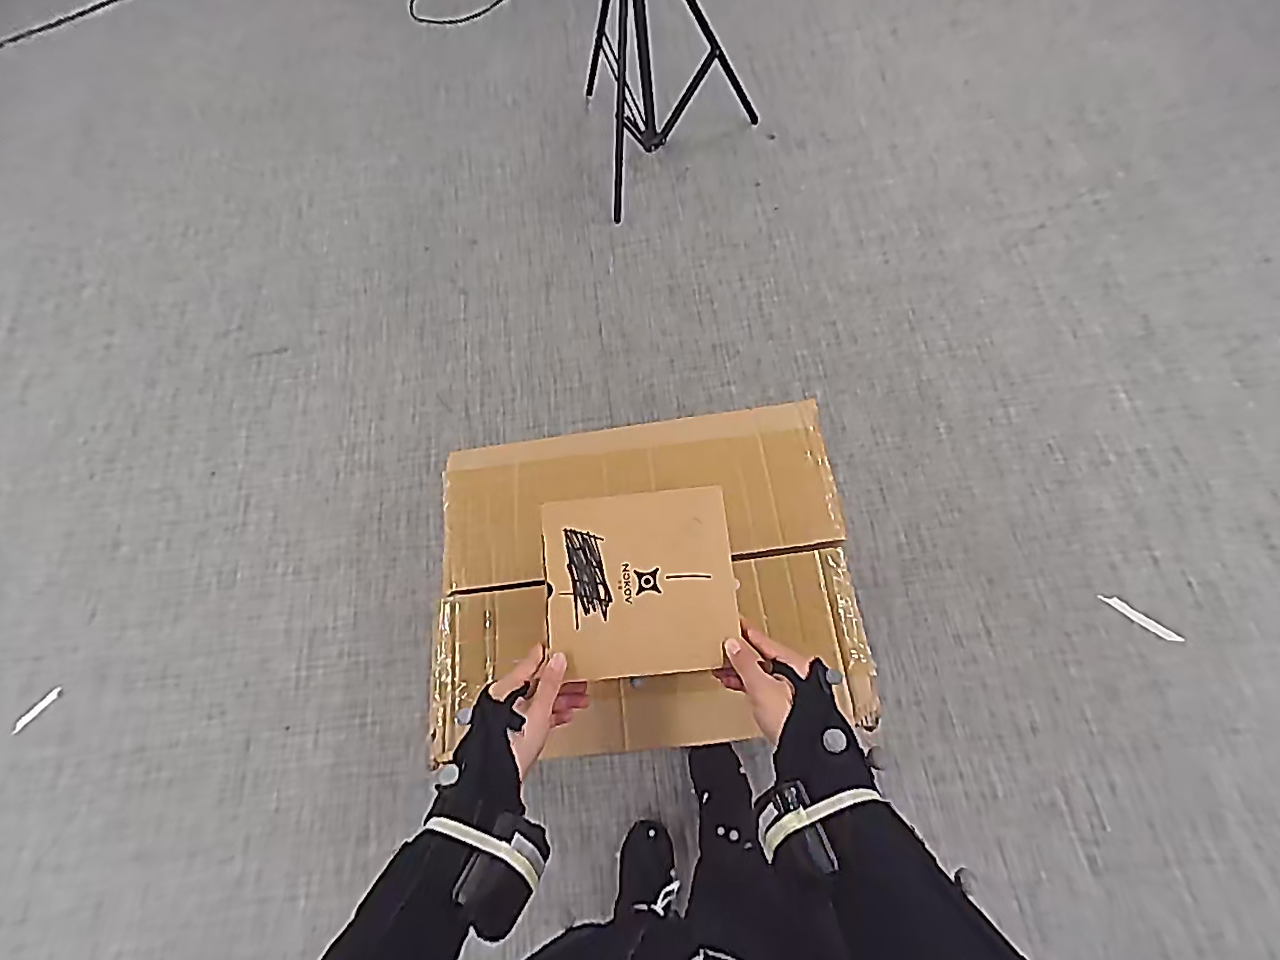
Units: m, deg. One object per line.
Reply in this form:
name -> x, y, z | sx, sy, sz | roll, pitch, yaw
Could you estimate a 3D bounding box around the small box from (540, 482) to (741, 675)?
small box -> 0.003, 0.108, 0.572 | 0.179, 0.176, 0.168 | -6, 76, 2
